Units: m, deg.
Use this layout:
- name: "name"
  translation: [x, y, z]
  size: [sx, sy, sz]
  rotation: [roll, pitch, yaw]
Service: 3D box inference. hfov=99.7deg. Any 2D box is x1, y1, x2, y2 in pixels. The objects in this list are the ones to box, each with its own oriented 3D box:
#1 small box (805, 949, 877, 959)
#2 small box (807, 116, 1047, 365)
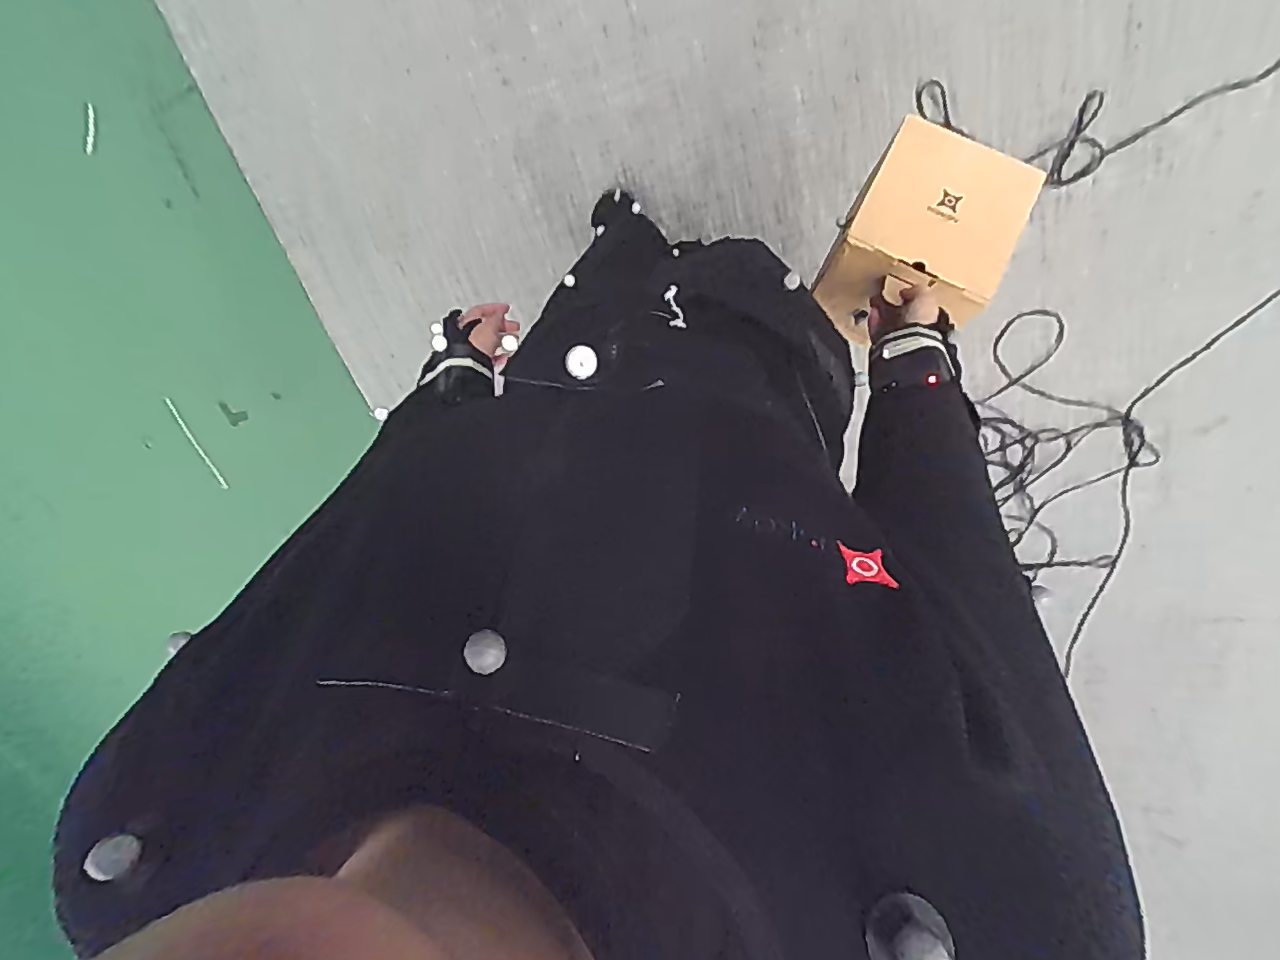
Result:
- name: "small box"
  translation: [0.392, 0.980, 0.964]
  size: [0.168, 0.176, 0.179]
  rotation: [-7, 118, 17]
- name: "small box"
  translation: [0.324, -0.271, 0.647]
  size: [0.168, 0.176, 0.179]
  rotation: [28, 80, 3]
